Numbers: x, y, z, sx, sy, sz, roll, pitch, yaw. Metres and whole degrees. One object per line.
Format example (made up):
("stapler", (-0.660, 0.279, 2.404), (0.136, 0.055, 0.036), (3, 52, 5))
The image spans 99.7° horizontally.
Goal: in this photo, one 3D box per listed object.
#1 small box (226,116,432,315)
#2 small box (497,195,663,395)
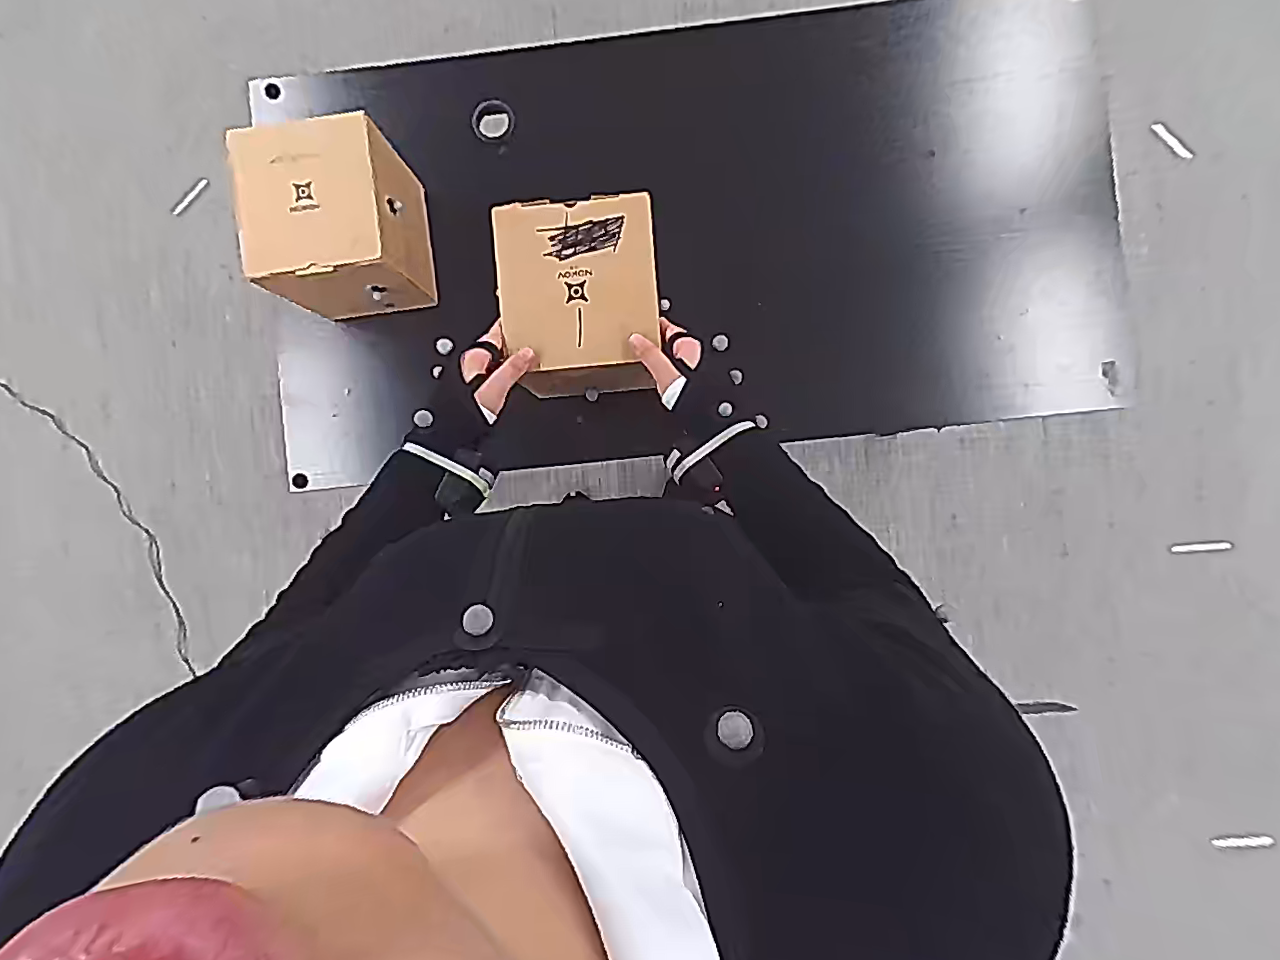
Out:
("small box", (-0.389, -0.327, 0.708), (0.168, 0.176, 0.179), (-8, 90, 0))
("small box", (-0.063, -0.204, 0.639), (0.168, 0.176, 0.179), (-4, 91, 1))
